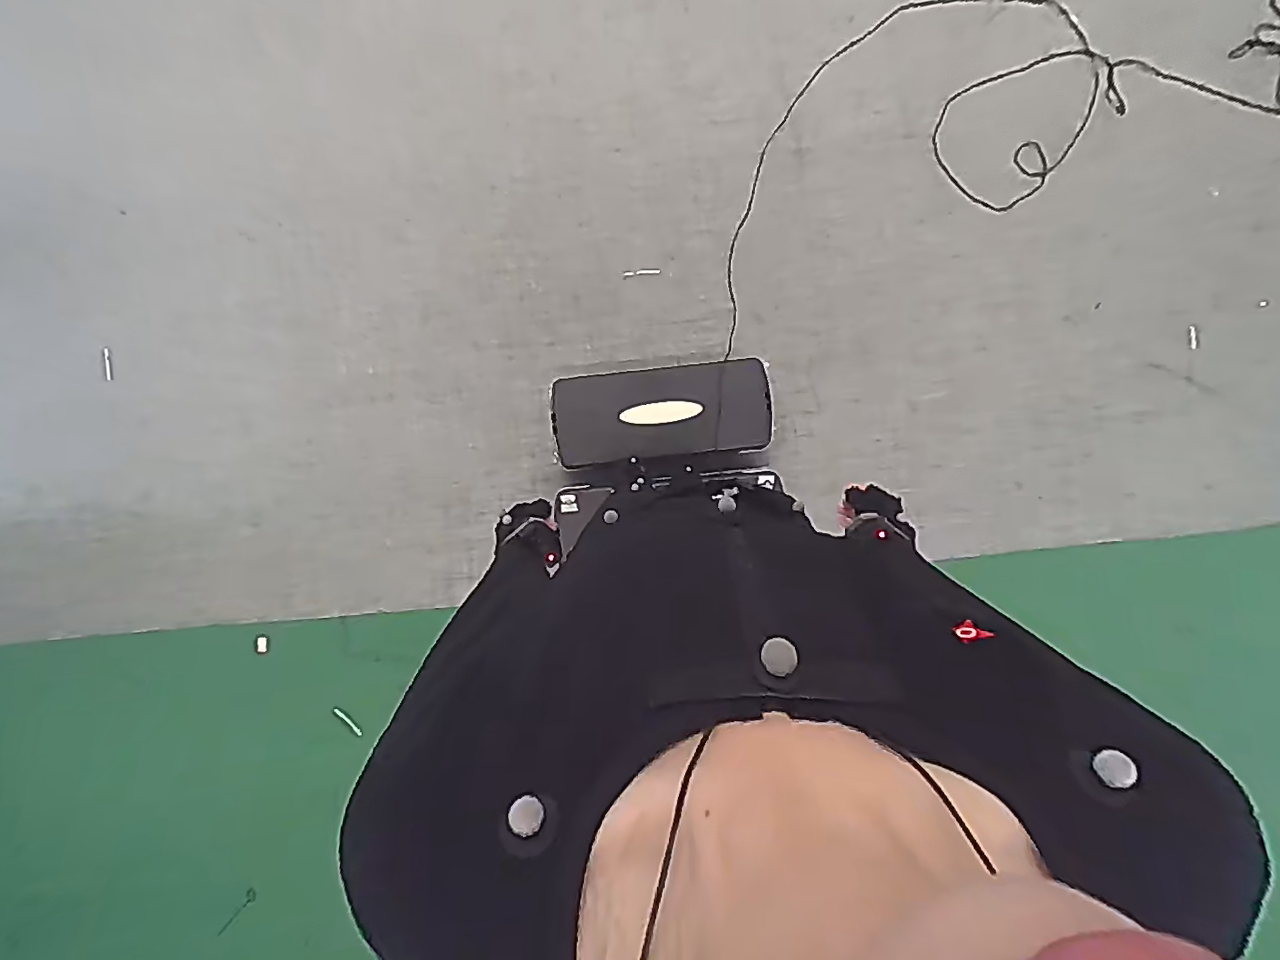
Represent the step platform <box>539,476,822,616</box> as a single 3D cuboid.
[{"bbox_3d":[0.097,0.162,1.393,0.684,0.204,0.286,-6,89,0],"label":"step platform"}]
